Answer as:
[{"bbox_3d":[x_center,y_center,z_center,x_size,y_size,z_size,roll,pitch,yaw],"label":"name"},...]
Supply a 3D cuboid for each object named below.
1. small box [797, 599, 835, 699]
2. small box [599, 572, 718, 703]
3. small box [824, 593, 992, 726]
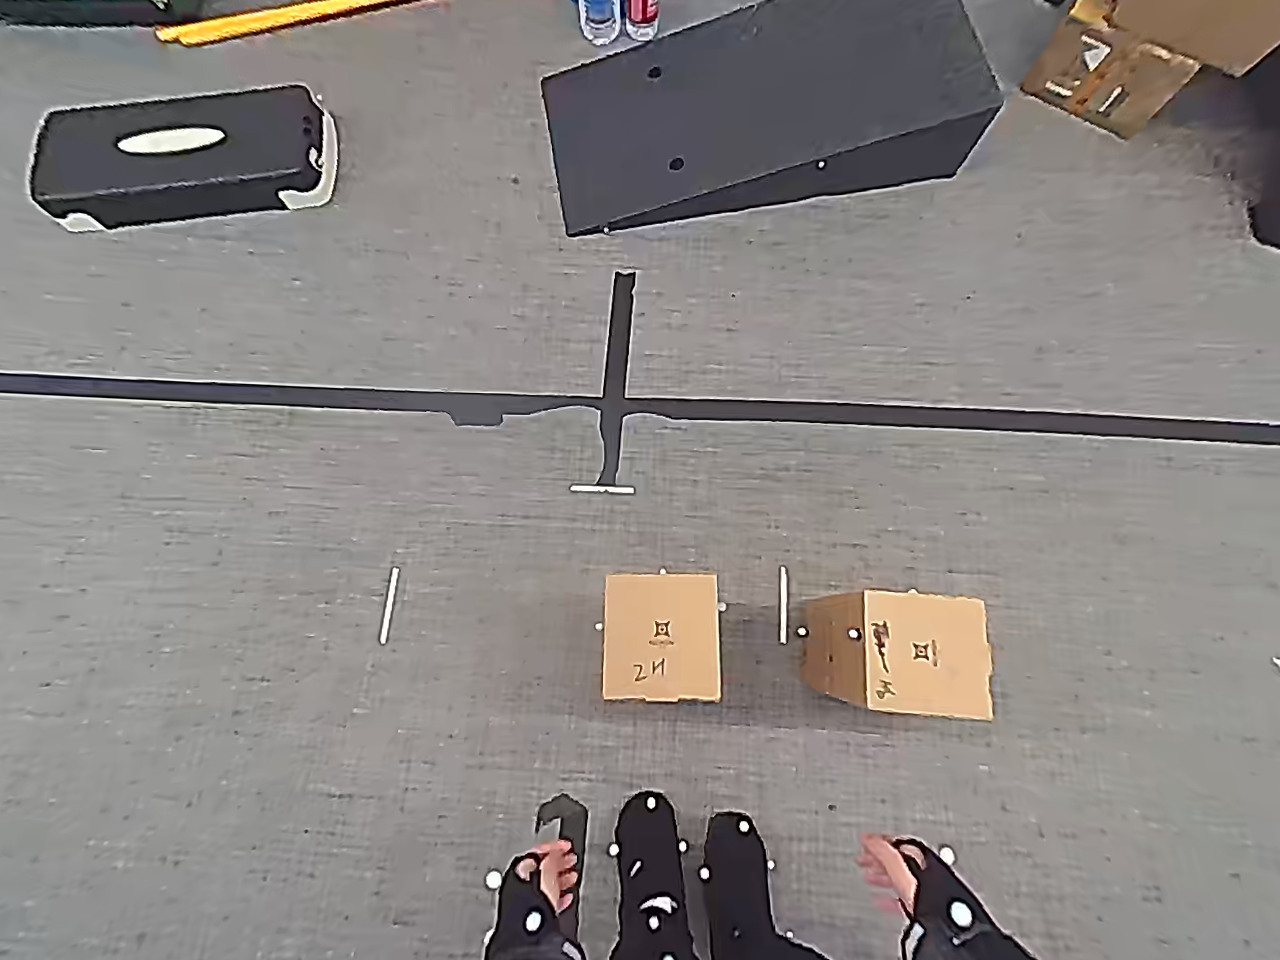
[{"bbox_3d":[0.401,0.312,0.988,0.179,0.176,0.168,6,75,2],"label":"small box"},{"bbox_3d":[0.027,0.240,0.836,0.168,0.176,0.179,1,75,1],"label":"small box"},{"bbox_3d":[0.399,0.267,0.830,0.179,0.176,0.168,5,75,1],"label":"small box"}]
